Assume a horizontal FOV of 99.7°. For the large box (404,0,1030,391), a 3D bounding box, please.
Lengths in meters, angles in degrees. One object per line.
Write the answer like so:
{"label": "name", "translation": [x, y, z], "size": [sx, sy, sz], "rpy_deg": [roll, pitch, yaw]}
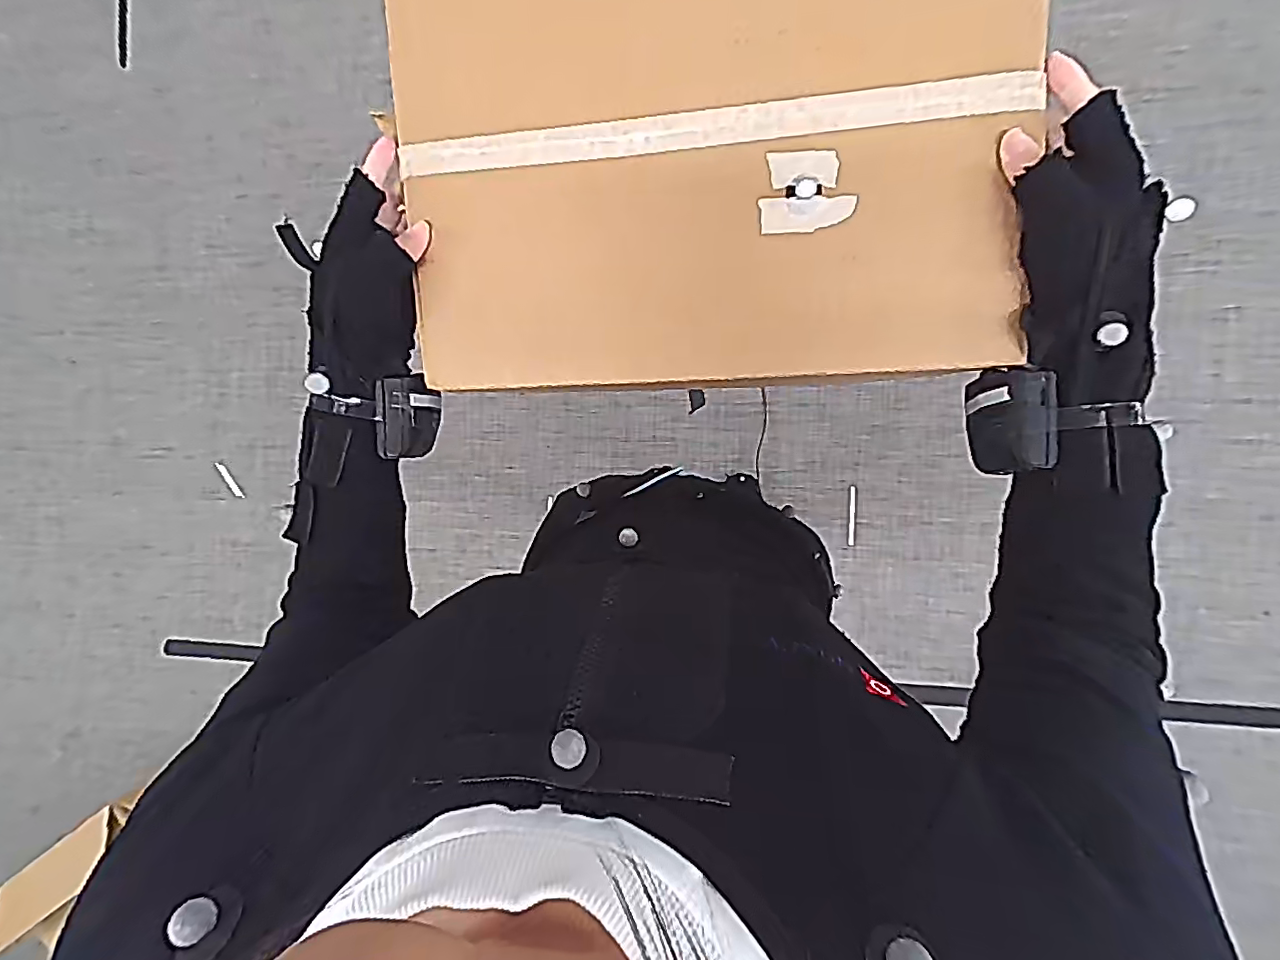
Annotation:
{"label": "large box", "translation": [0.057, -0.252, 0.506], "size": [0.408, 0.320, 0.320], "rpy_deg": [-1, 99, 7]}
